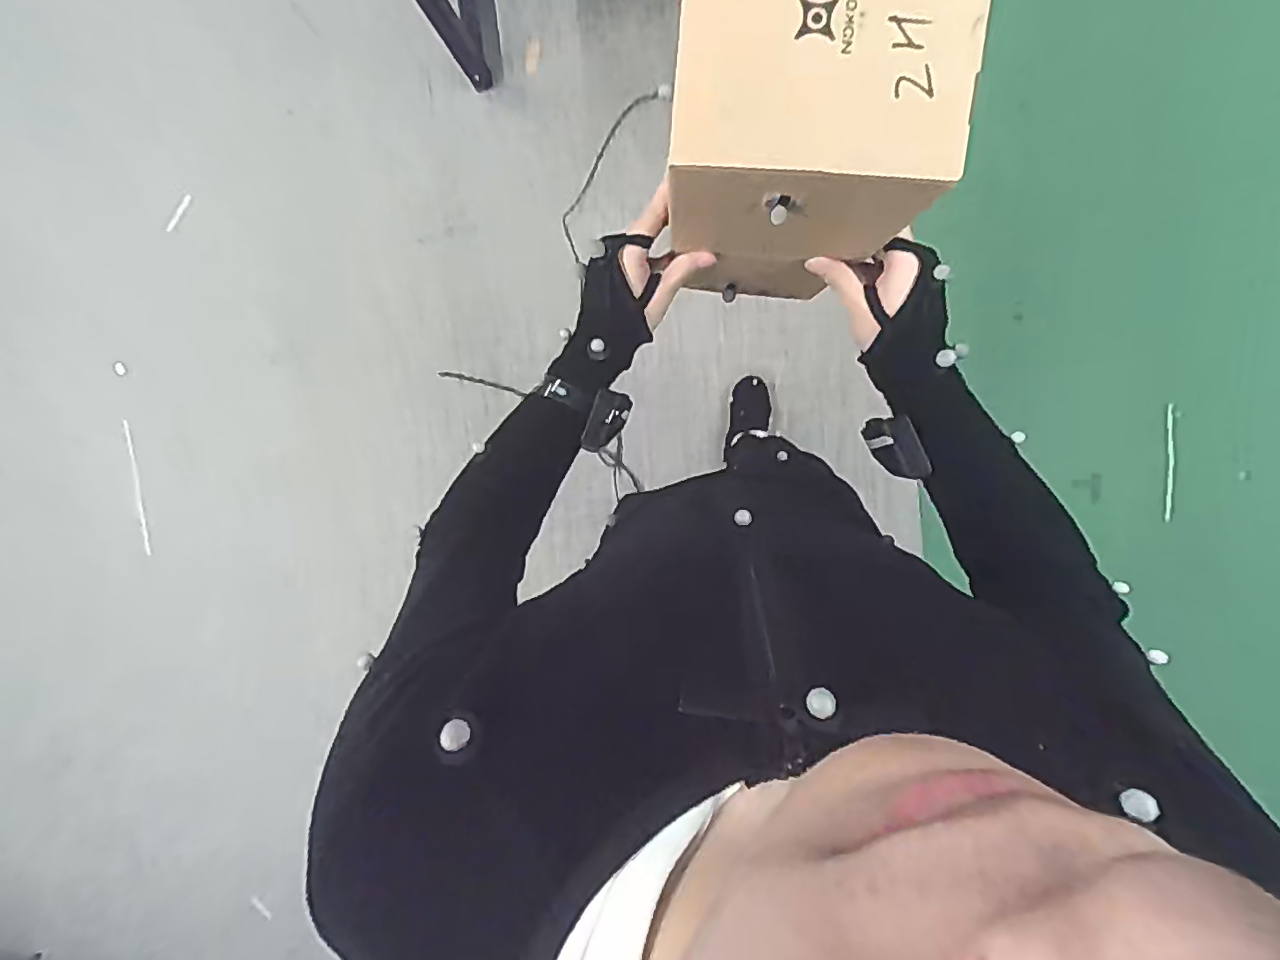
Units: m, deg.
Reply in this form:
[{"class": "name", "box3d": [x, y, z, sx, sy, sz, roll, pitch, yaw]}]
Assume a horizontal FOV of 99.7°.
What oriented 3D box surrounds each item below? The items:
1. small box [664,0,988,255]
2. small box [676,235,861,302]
[{"class": "small box", "box3d": [0.114, -0.273, 0.389, 0.179, 0.176, 0.168, 6, 97, 3]}, {"class": "small box", "box3d": [0.126, -0.295, 0.551, 0.168, 0.176, 0.179, 6, 97, 3]}]
